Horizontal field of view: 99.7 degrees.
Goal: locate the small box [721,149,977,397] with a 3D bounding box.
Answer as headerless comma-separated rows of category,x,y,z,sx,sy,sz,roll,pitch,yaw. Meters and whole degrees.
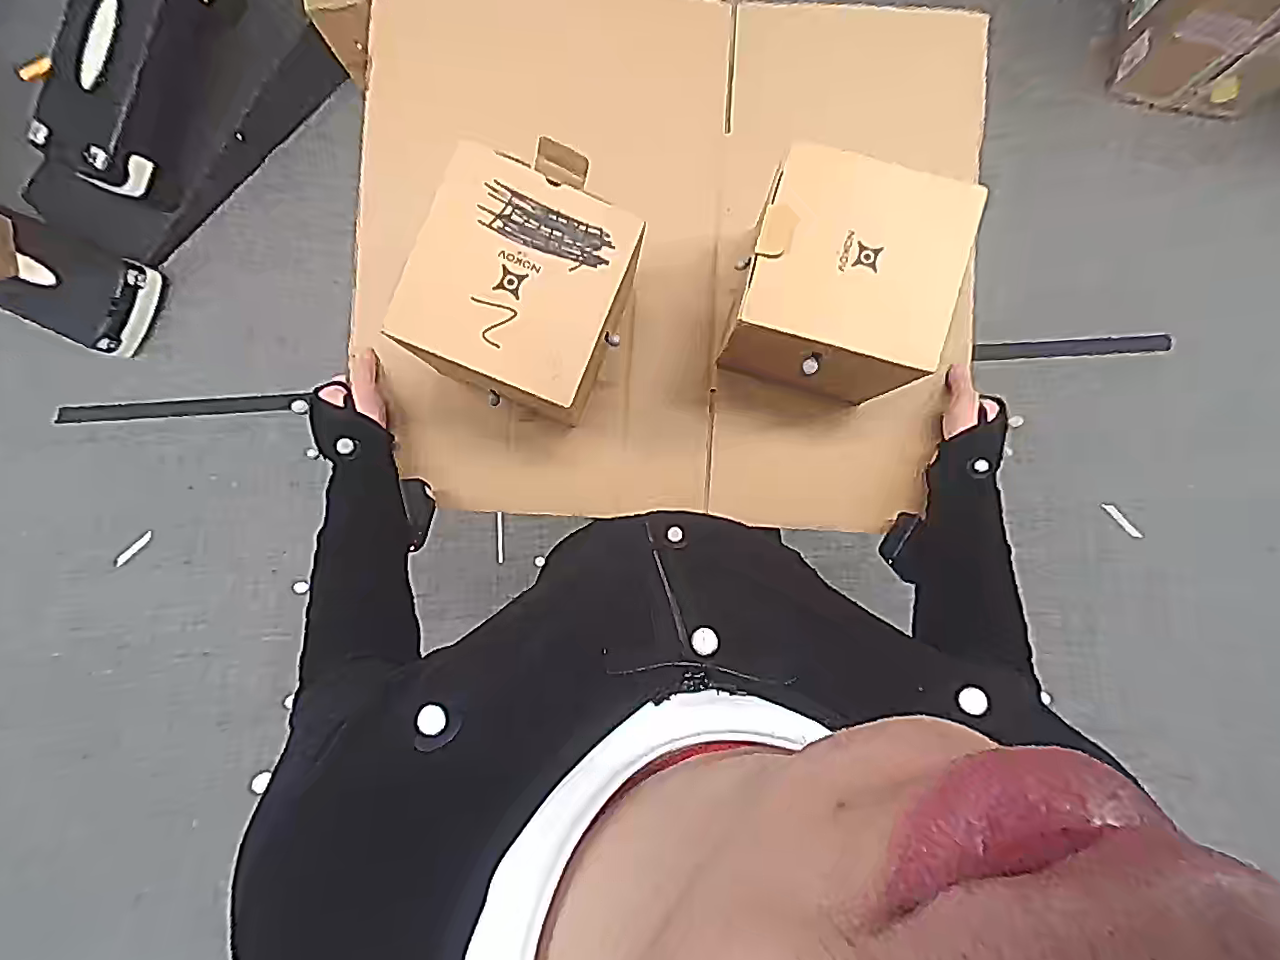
small box,0.194,-0.192,0.556,0.179,0.176,0.168,16,89,3
